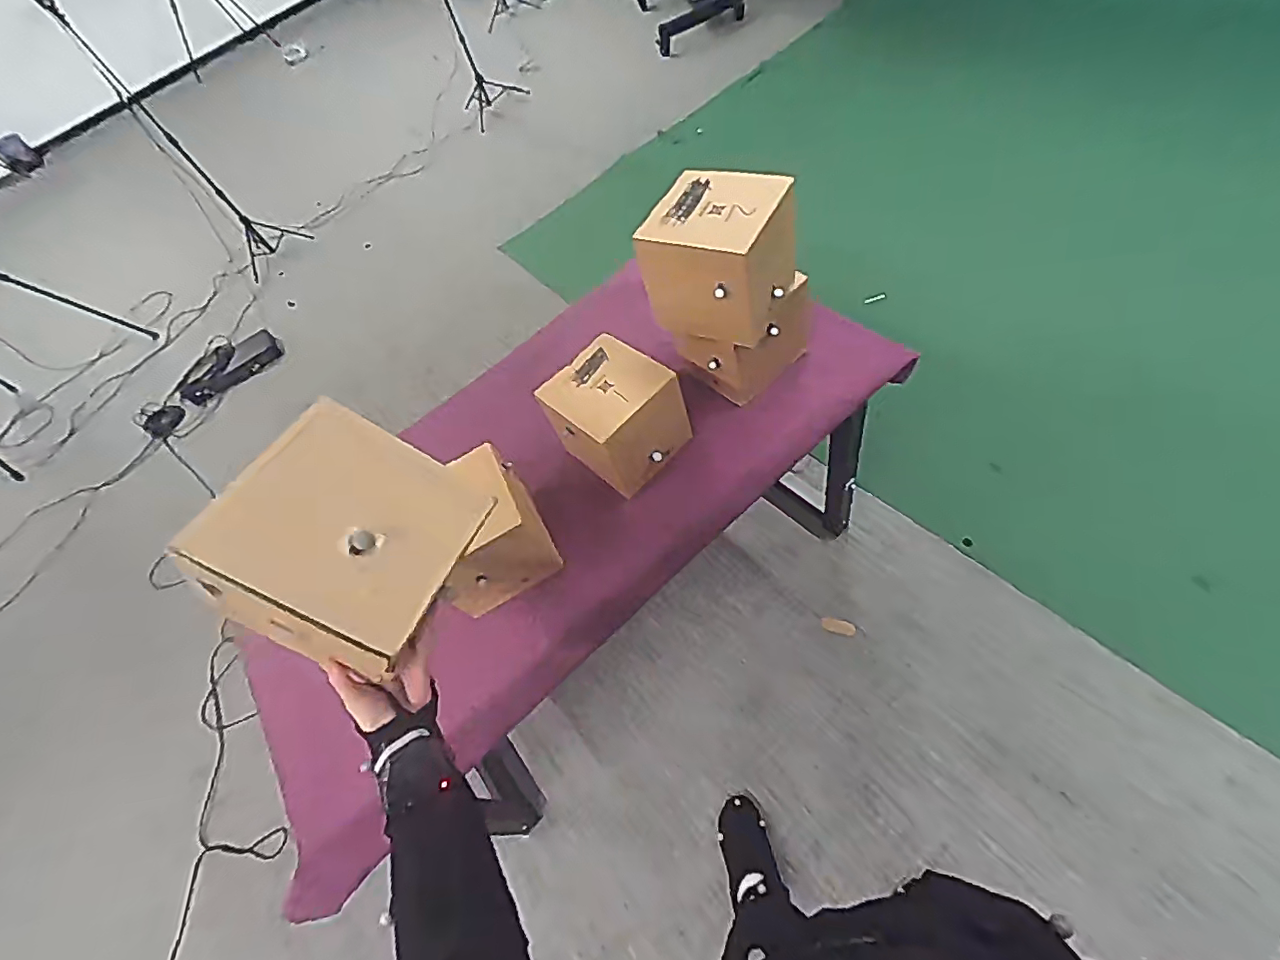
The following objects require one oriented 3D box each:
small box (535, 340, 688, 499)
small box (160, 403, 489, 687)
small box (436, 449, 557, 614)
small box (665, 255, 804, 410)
[{"bbox_3d":[-0.042,-0.098,0.917,0.168,0.176,0.179,-44,57,-14],"label":"small box"},{"bbox_3d":[-0.263,0.063,0.491,0.179,0.168,0.176,32,53,-11],"label":"small box"},{"bbox_3d":[-0.253,0.091,0.853,0.168,0.176,0.179,-30,53,-4],"label":"small box"},{"bbox_3d":[0.174,-0.258,0.961,0.179,0.176,0.168,-39,55,-11],"label":"small box"}]
